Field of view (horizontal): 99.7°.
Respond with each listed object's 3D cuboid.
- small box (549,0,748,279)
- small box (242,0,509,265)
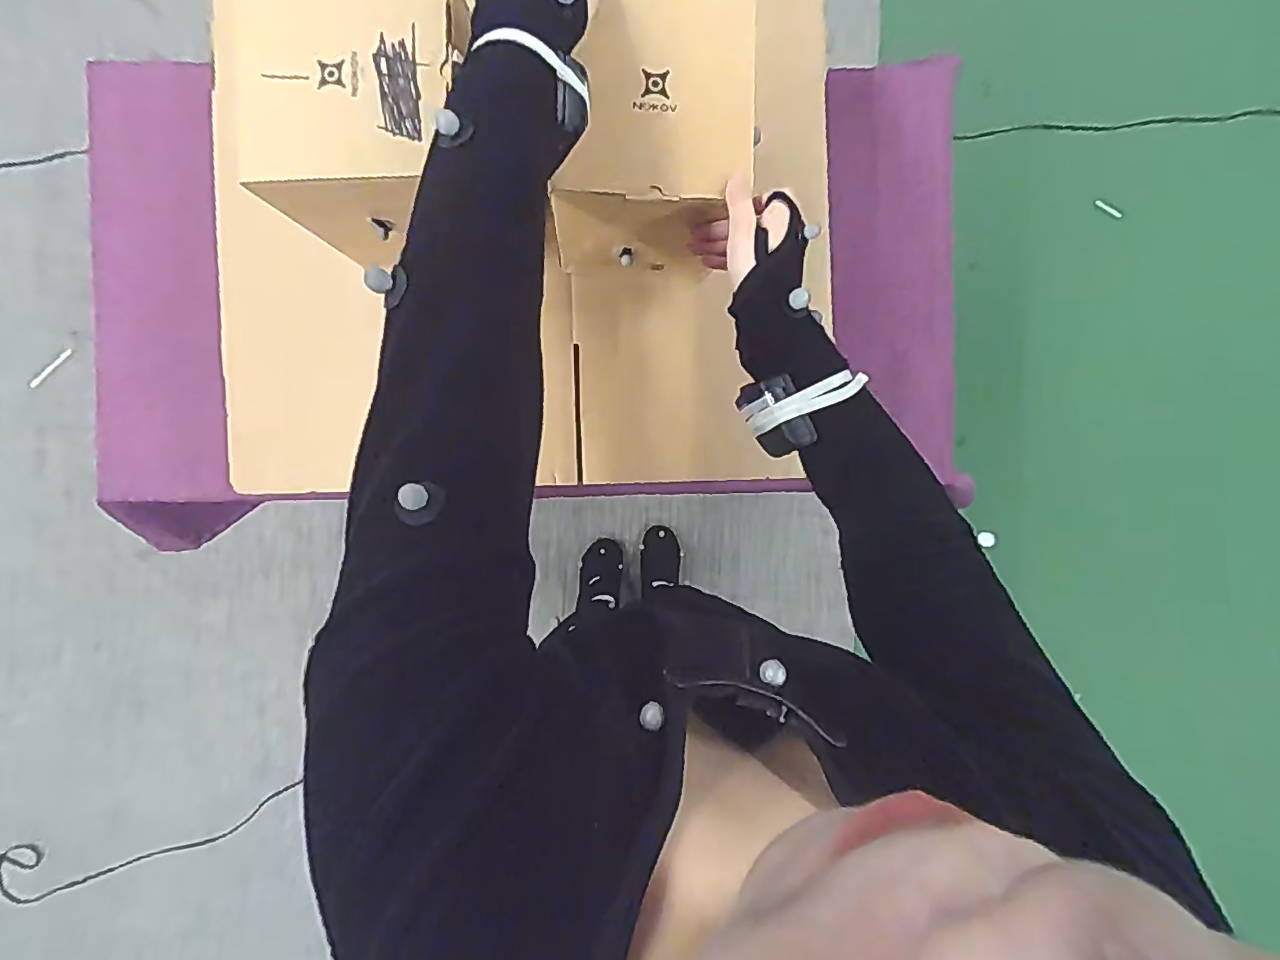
[{"bbox_3d":[0.001,-0.314,0.522,0.168,0.176,0.179,0,92,-5],"label":"small box"},{"bbox_3d":[-0.230,-0.317,0.513,0.179,0.176,0.168,0,91,5],"label":"small box"}]
